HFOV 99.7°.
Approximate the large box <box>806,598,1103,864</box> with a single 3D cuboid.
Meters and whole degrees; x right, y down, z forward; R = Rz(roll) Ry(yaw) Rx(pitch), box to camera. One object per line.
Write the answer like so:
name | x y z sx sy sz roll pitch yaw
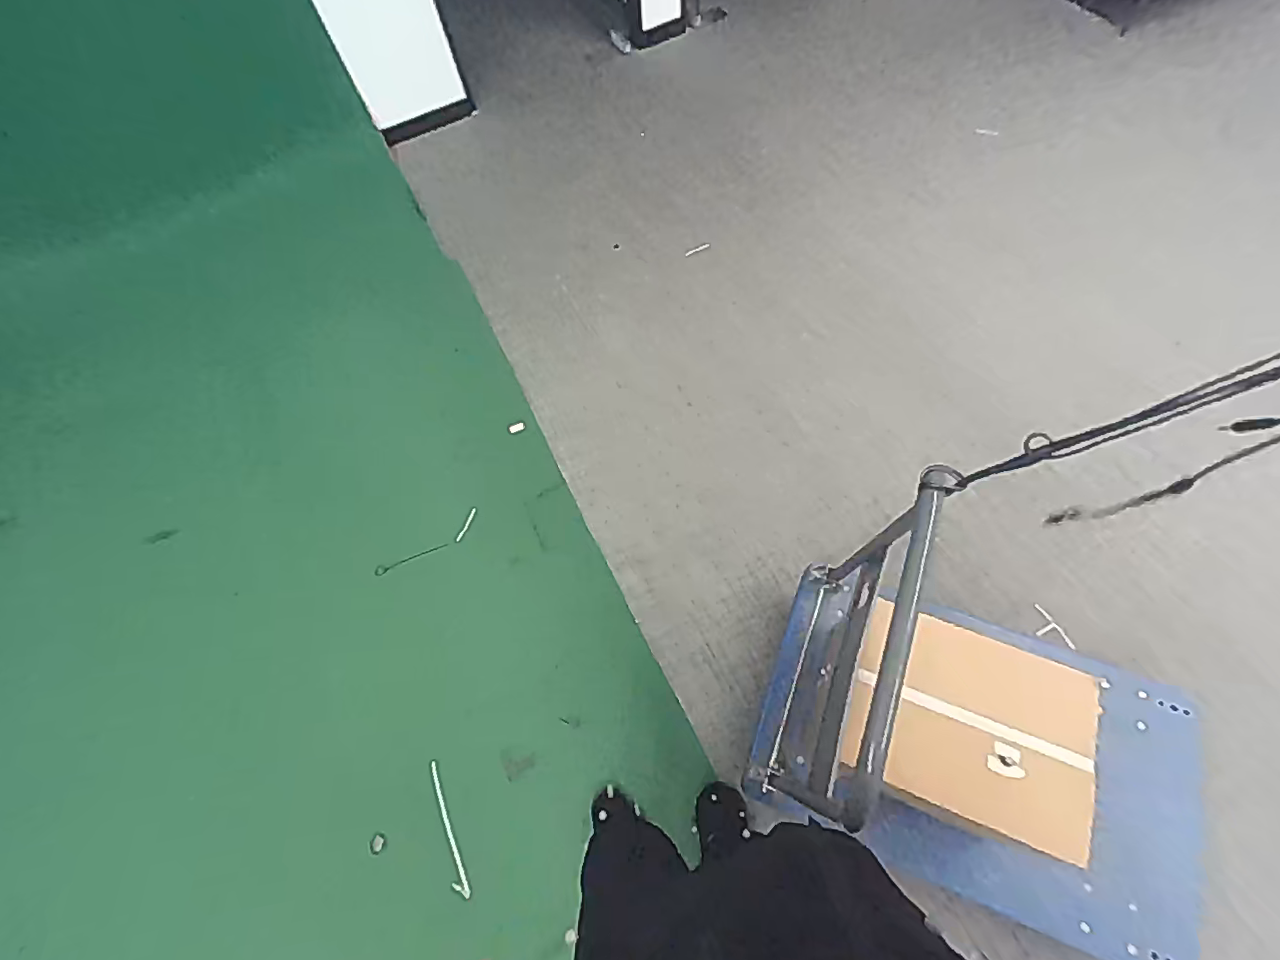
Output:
large box | 0.593 0.481 1.082 0.408 0.320 0.320 20 68 13
